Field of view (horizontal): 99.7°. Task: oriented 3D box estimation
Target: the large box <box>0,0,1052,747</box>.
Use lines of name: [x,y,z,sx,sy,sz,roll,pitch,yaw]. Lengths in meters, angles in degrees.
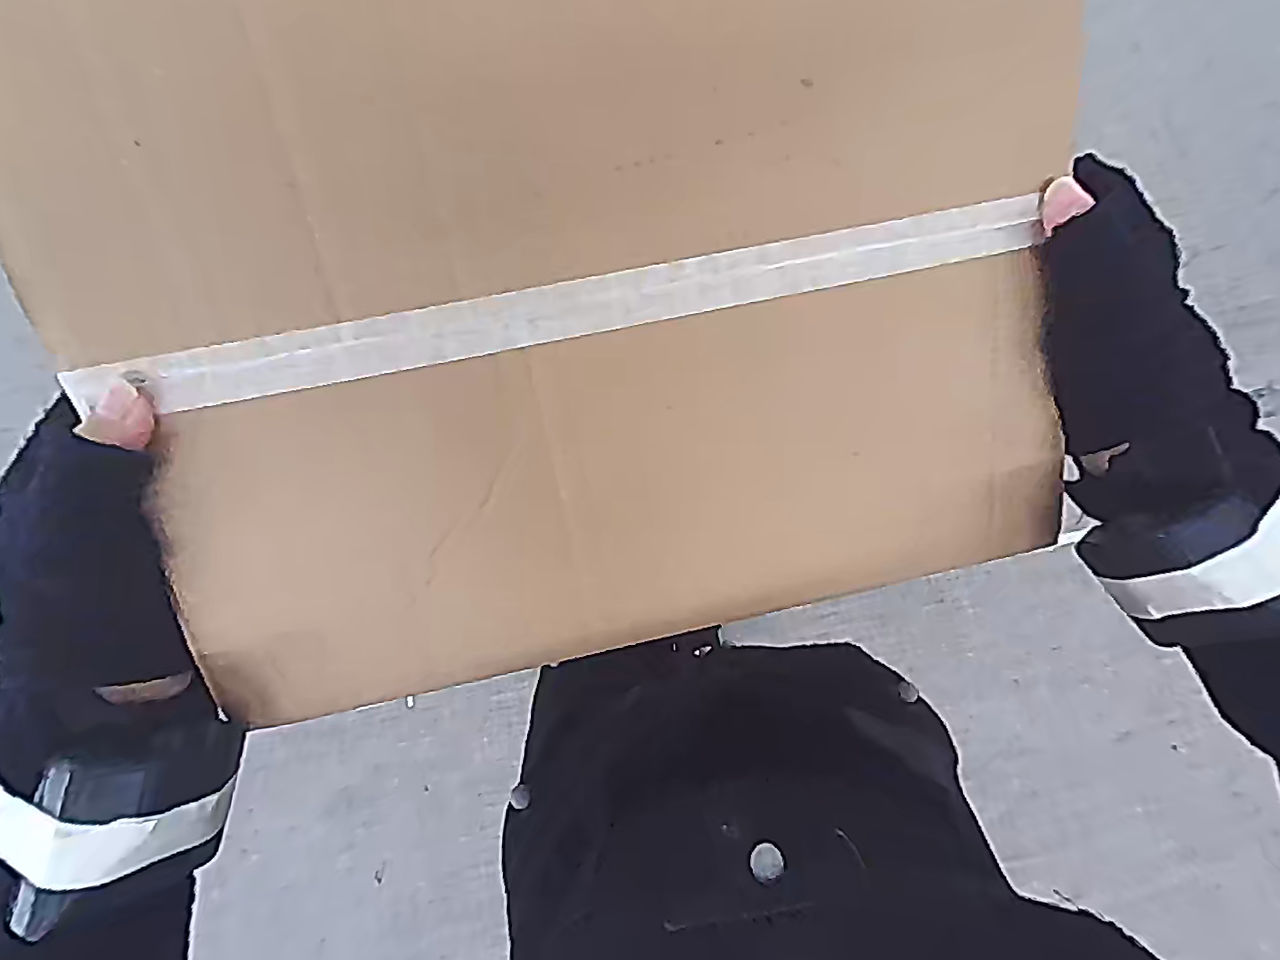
large box: [-0.032,-0.098,0.371,0.408,0.320,0.320,-12,107,-4]
